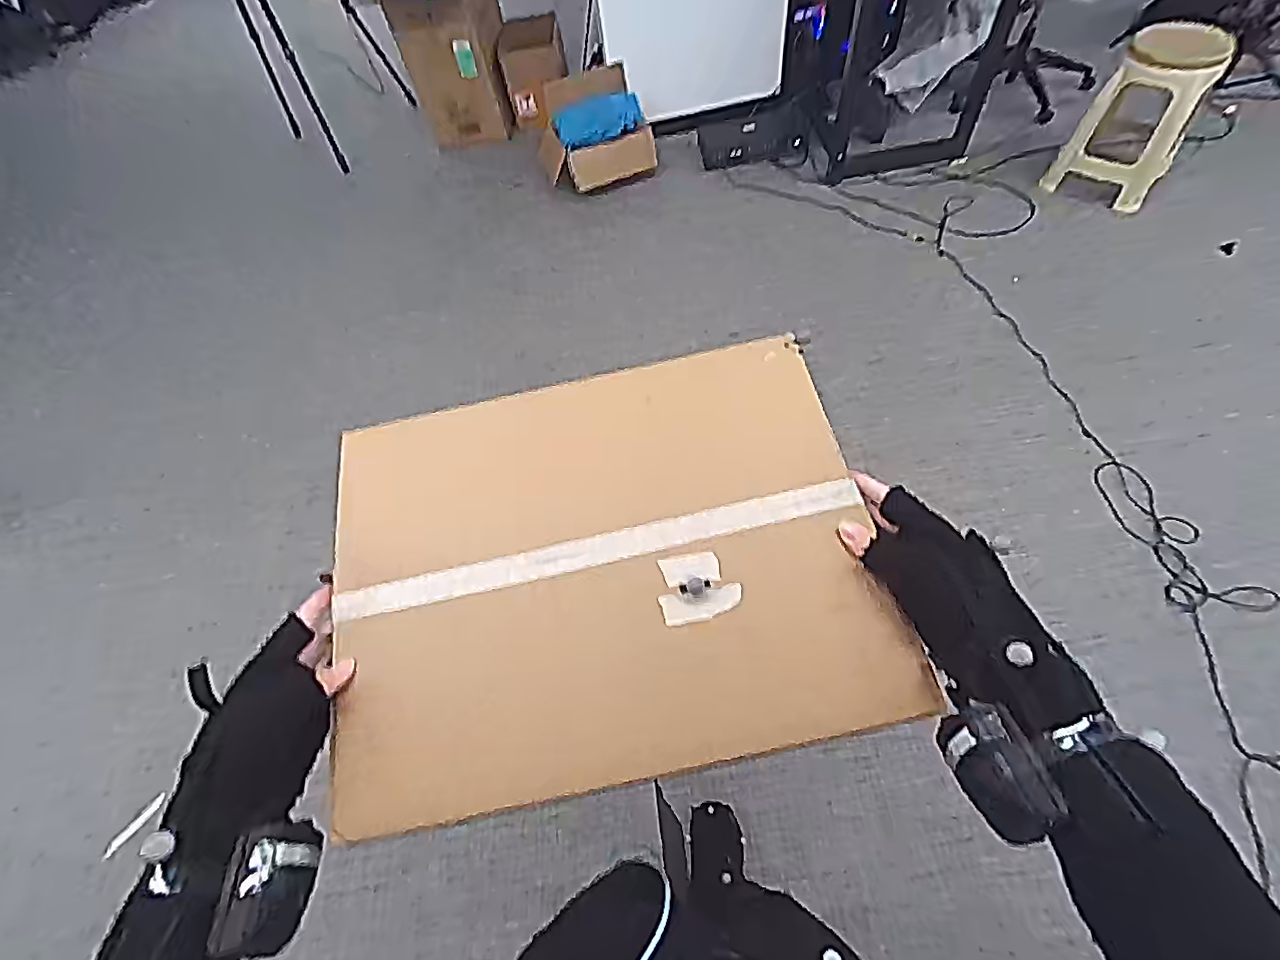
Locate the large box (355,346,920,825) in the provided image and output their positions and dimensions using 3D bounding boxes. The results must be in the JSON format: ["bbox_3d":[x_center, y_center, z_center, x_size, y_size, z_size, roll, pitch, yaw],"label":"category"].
[{"bbox_3d":[-0.019,0.116,0.563,0.408,0.320,0.320,-12,66,-1],"label":"large box"}]
